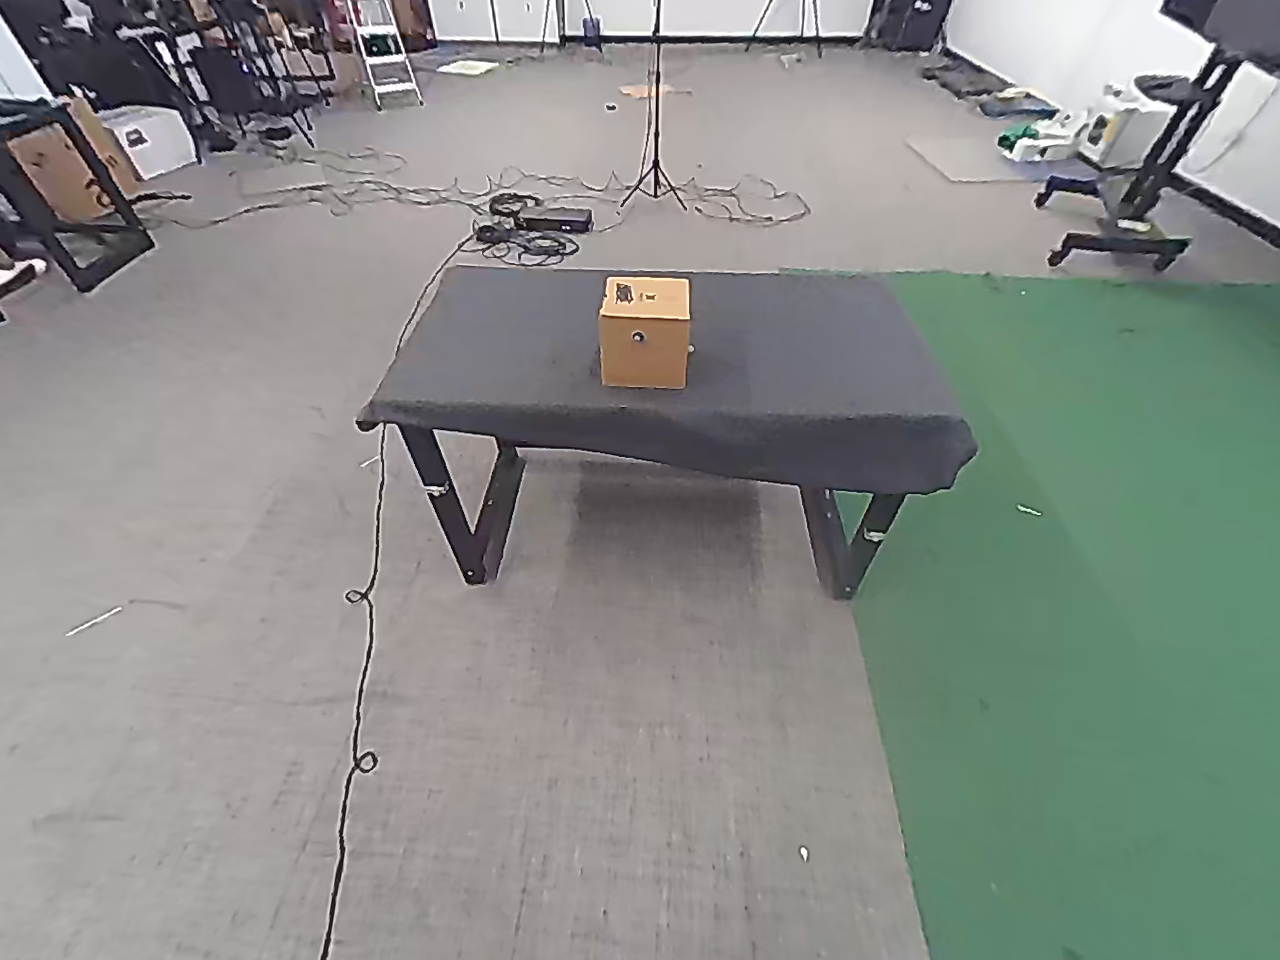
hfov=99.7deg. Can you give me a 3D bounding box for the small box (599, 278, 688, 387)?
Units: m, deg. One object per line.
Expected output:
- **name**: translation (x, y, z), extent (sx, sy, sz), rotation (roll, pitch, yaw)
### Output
- **small box**: translation (0.011, -0.314, 1.159), extent (0.179, 0.176, 0.168), rotation (3, 47, 2)
